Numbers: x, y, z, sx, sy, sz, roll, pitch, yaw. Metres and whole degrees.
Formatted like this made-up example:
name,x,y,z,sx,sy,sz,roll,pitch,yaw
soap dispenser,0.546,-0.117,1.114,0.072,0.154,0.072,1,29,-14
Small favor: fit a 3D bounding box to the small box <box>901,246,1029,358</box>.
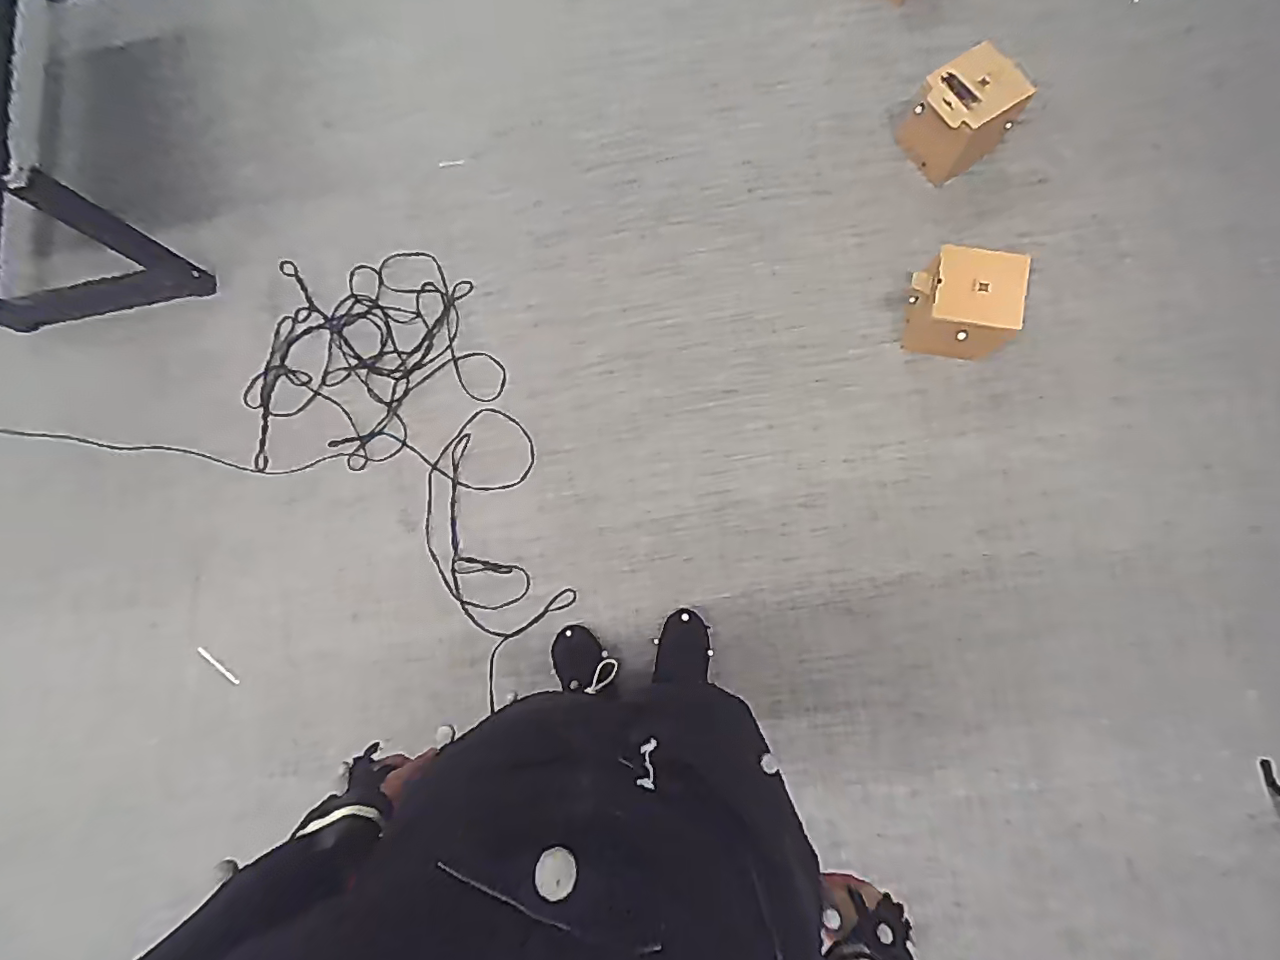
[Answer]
name,x,y,z,sx,sy,sz,roll,pitch,yaw
small box,0.697,-0.378,1.175,0.179,0.176,0.168,11,82,7
